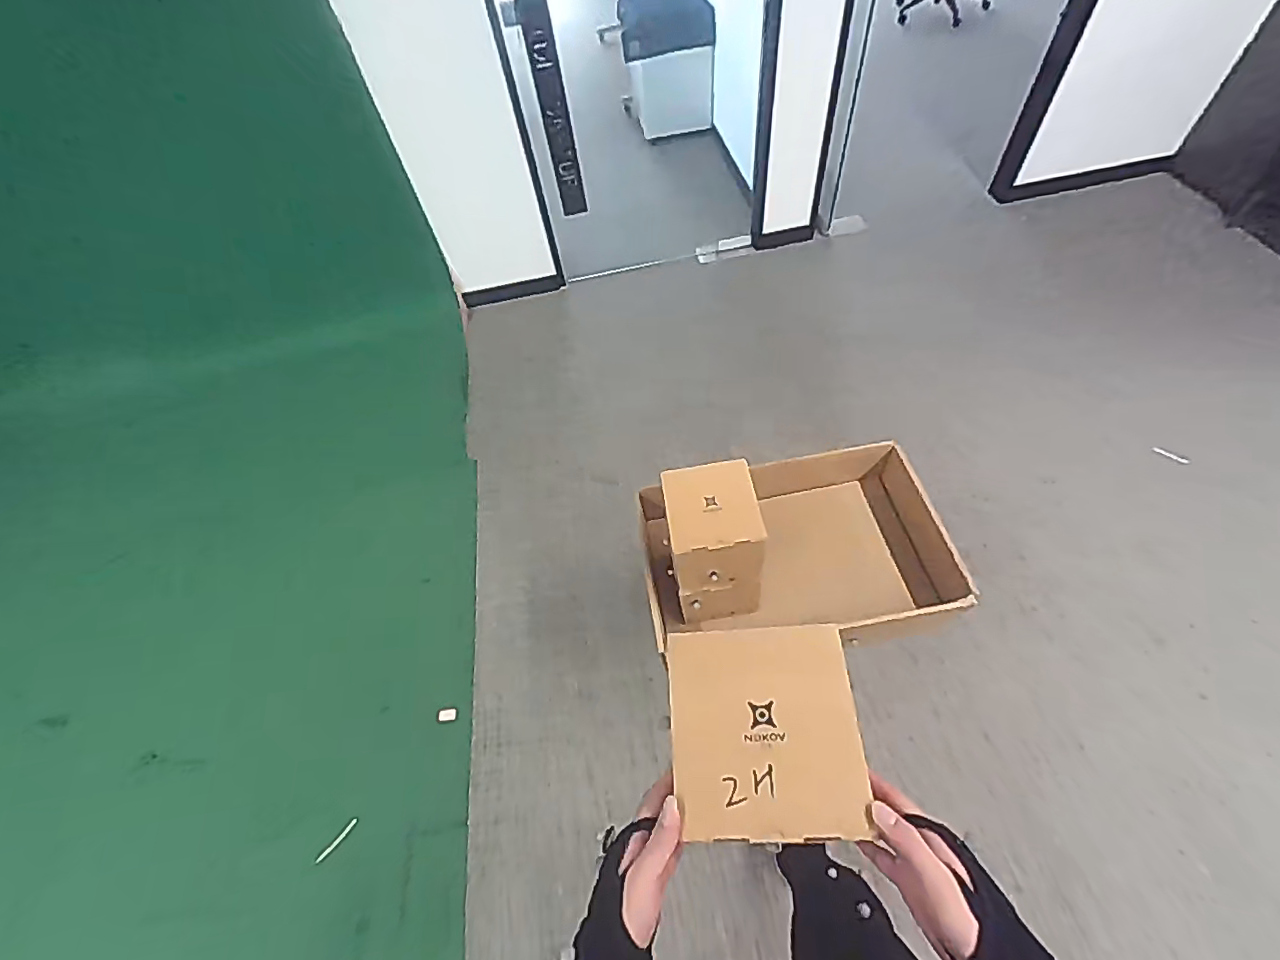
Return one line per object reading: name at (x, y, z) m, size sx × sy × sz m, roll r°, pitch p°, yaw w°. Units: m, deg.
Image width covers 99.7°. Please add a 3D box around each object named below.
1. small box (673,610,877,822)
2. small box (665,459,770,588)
small box at (0.124, 0.246, 0.556) m, size 0.168 × 0.176 × 0.179 m, roll -5°, pitch 60°, yaw 8°
small box at (0.142, 0.086, 1.035) m, size 0.168 × 0.176 × 0.179 m, roll -9°, pitch 54°, yaw 2°
